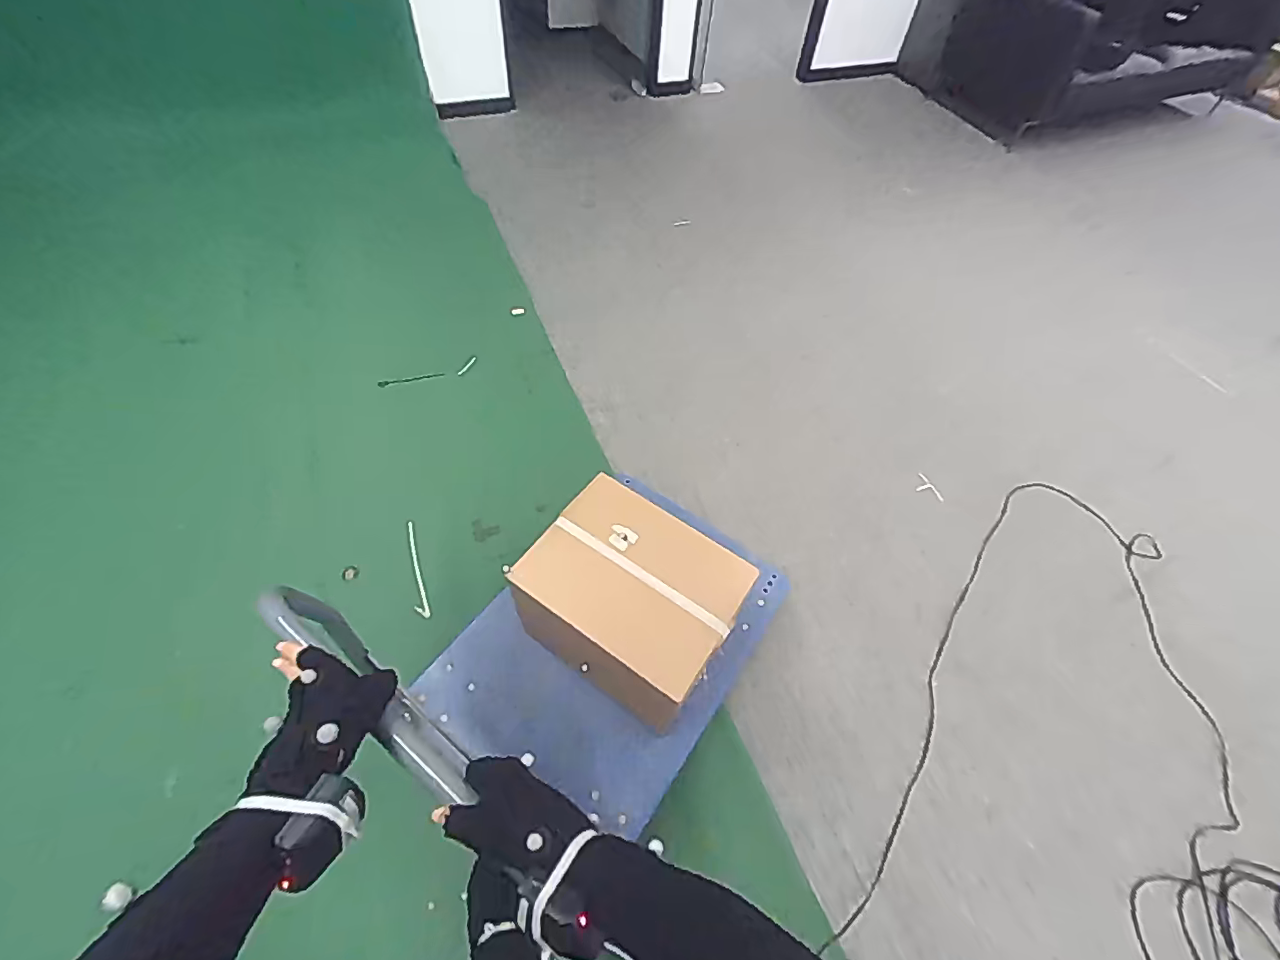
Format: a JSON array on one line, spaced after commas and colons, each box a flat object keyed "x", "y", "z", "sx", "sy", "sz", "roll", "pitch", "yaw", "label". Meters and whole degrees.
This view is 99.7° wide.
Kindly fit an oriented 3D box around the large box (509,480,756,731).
[{"x": -0.016, "y": 0.279, "z": 1.191, "sx": 0.408, "sy": 0.320, "sz": 0.320, "roll": 31, "pitch": 58, "yaw": 17, "label": "large box"}]
